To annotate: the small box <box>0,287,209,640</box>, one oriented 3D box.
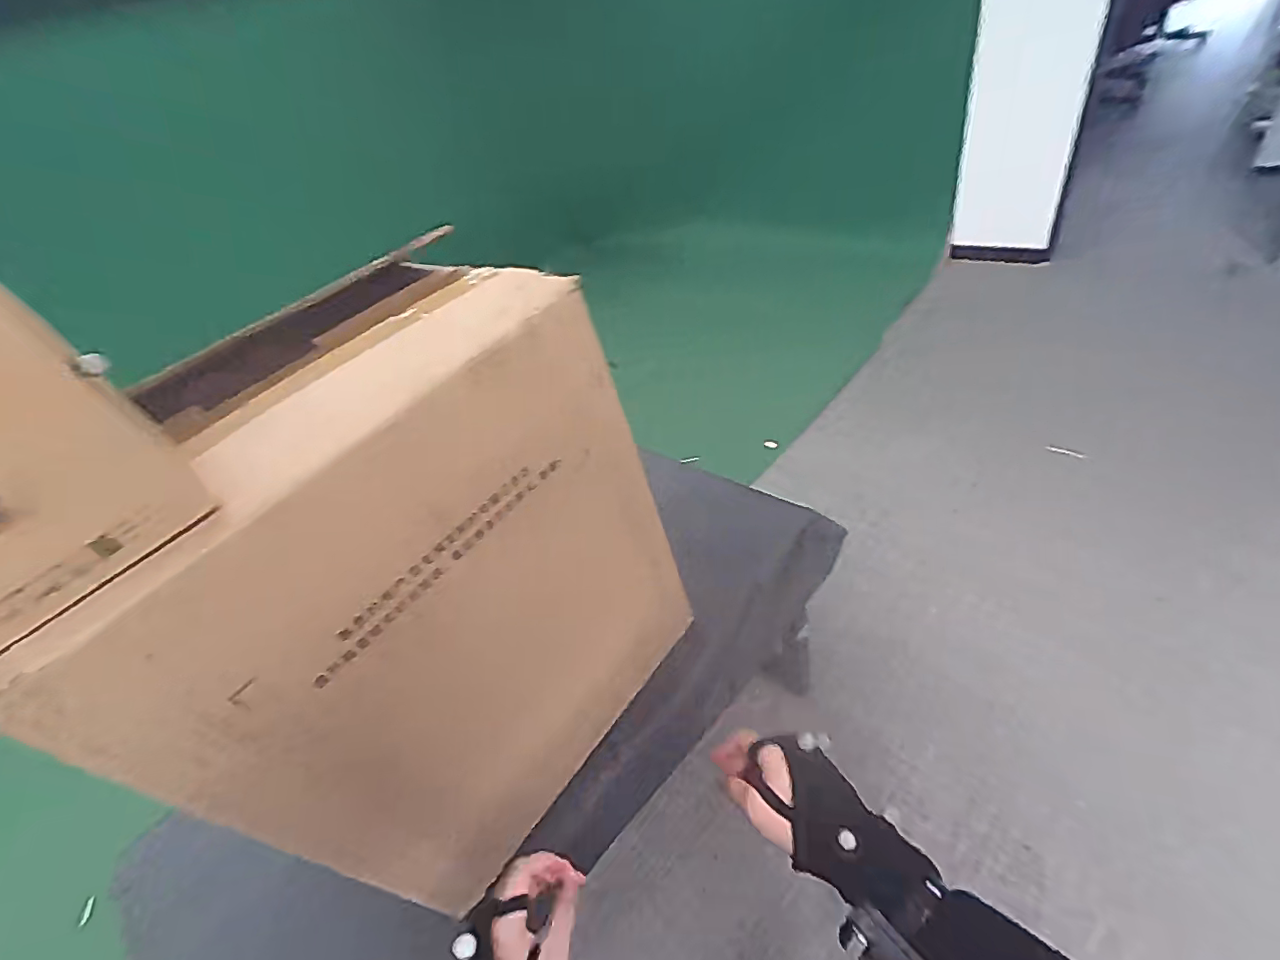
[{"bbox_3d":[-0.430,-0.012,0.347,0.179,0.176,0.168,23,56,37],"label":"small box"}]
